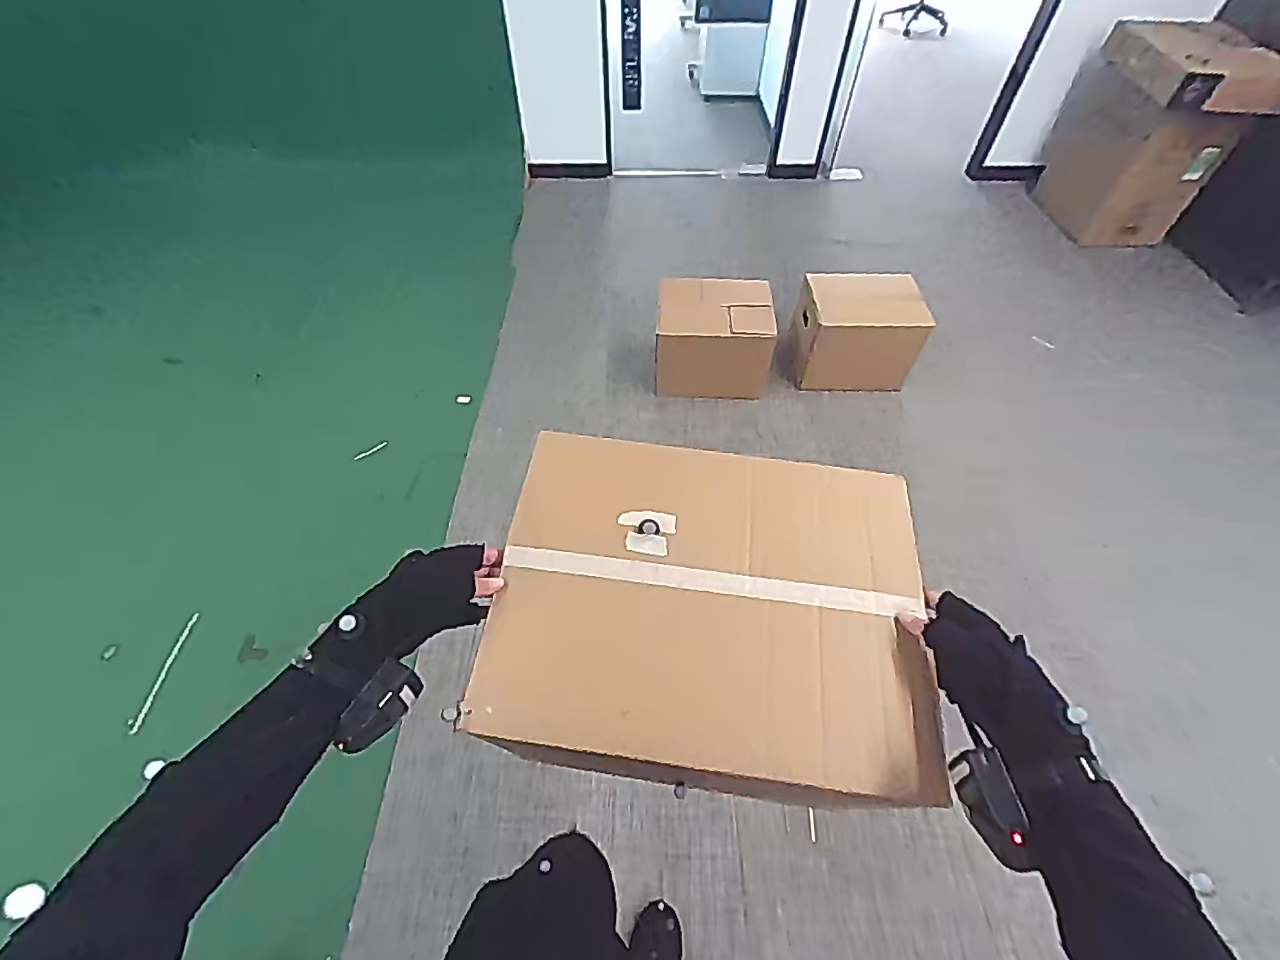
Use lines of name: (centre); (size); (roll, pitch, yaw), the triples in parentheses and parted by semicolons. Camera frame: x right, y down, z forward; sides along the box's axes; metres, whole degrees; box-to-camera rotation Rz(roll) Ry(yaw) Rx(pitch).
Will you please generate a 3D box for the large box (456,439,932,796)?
large box: (0.059, 0.179, 0.648); (0.408, 0.320, 0.320); (7, 58, 4)
